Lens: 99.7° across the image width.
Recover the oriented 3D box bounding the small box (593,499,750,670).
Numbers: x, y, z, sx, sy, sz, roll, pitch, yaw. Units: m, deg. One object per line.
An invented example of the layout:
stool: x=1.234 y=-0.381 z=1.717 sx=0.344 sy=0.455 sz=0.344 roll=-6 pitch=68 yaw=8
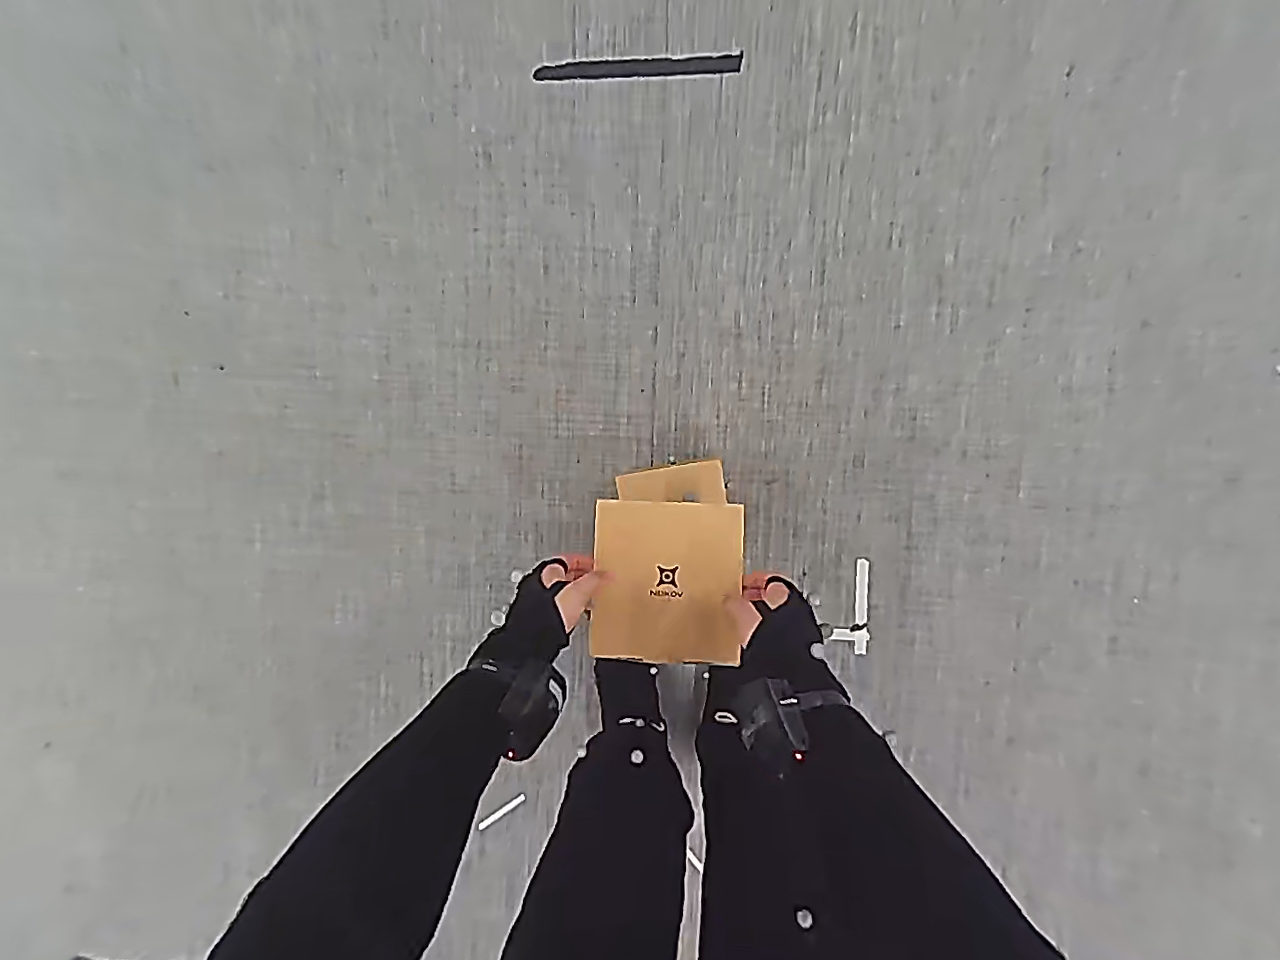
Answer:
small box: x=0.038 y=0.117 z=0.658 sx=0.168 sy=0.176 sz=0.179 roll=2 pitch=86 yaw=4

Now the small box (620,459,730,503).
small box: x=0.066 y=0.062 z=0.907 sx=0.168 sy=0.176 sz=0.179 roll=-9 pitch=93 yaw=6
